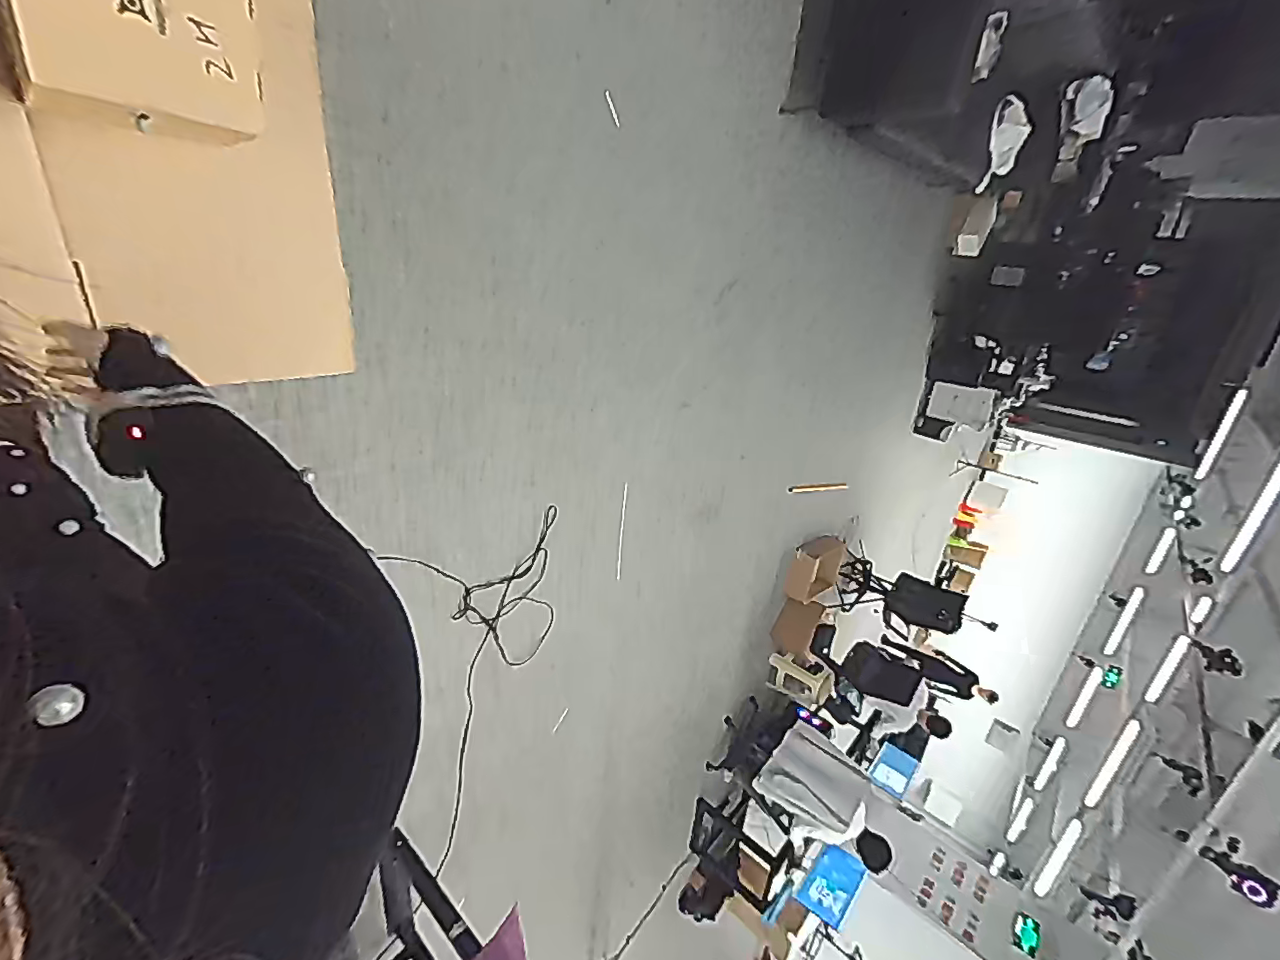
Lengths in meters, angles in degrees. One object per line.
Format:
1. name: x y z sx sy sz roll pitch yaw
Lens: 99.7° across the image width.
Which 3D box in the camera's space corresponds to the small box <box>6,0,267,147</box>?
1. small box: -0.509 -0.451 0.545 0.179 0.176 0.168 -15 119 -45
